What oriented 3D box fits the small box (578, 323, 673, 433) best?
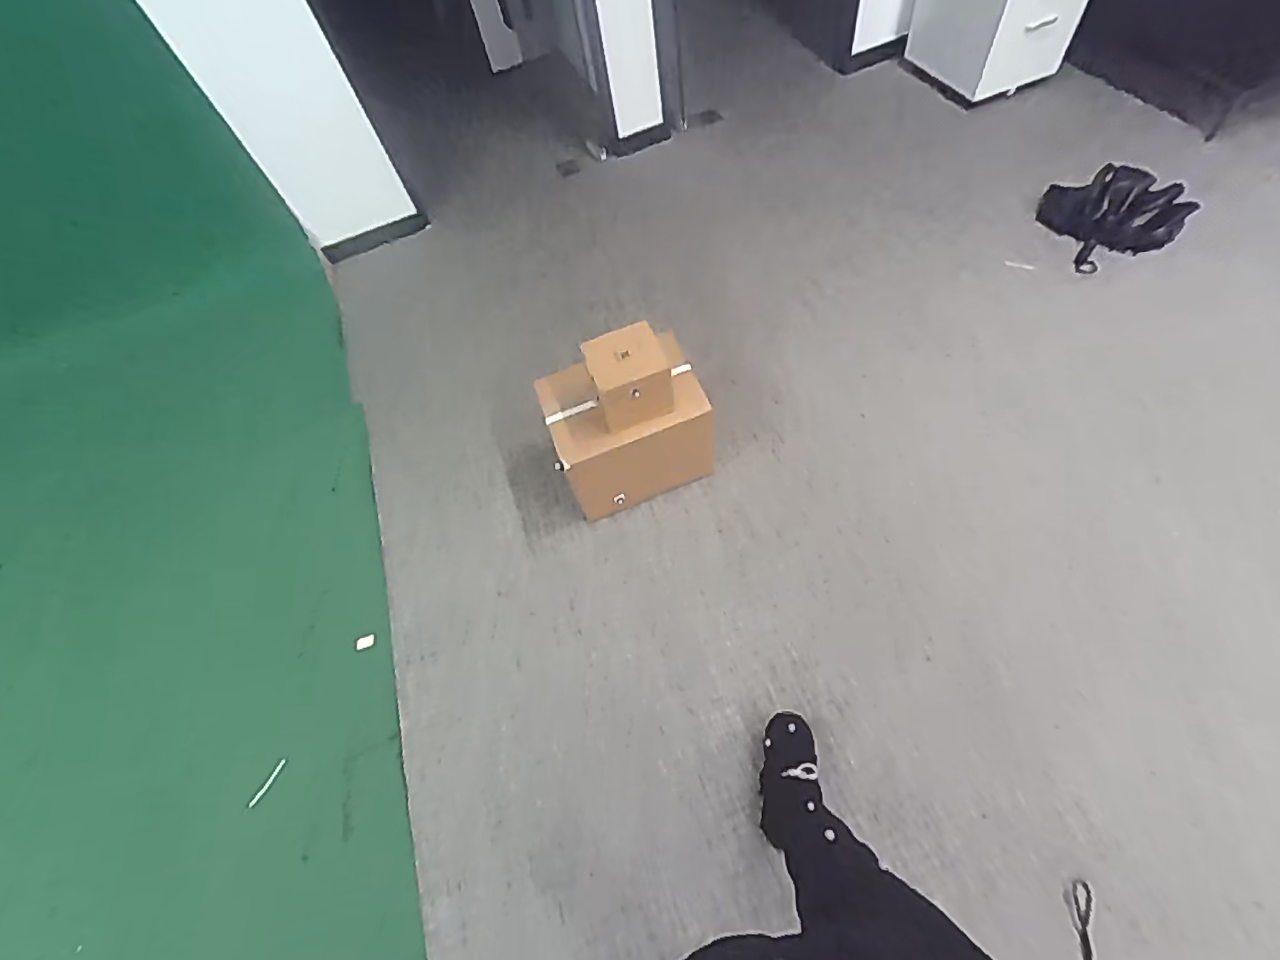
[{"bbox_3d":[-0.031,-0.243,1.324,0.179,0.176,0.168,-22,60,-4],"label":"small box"}]
